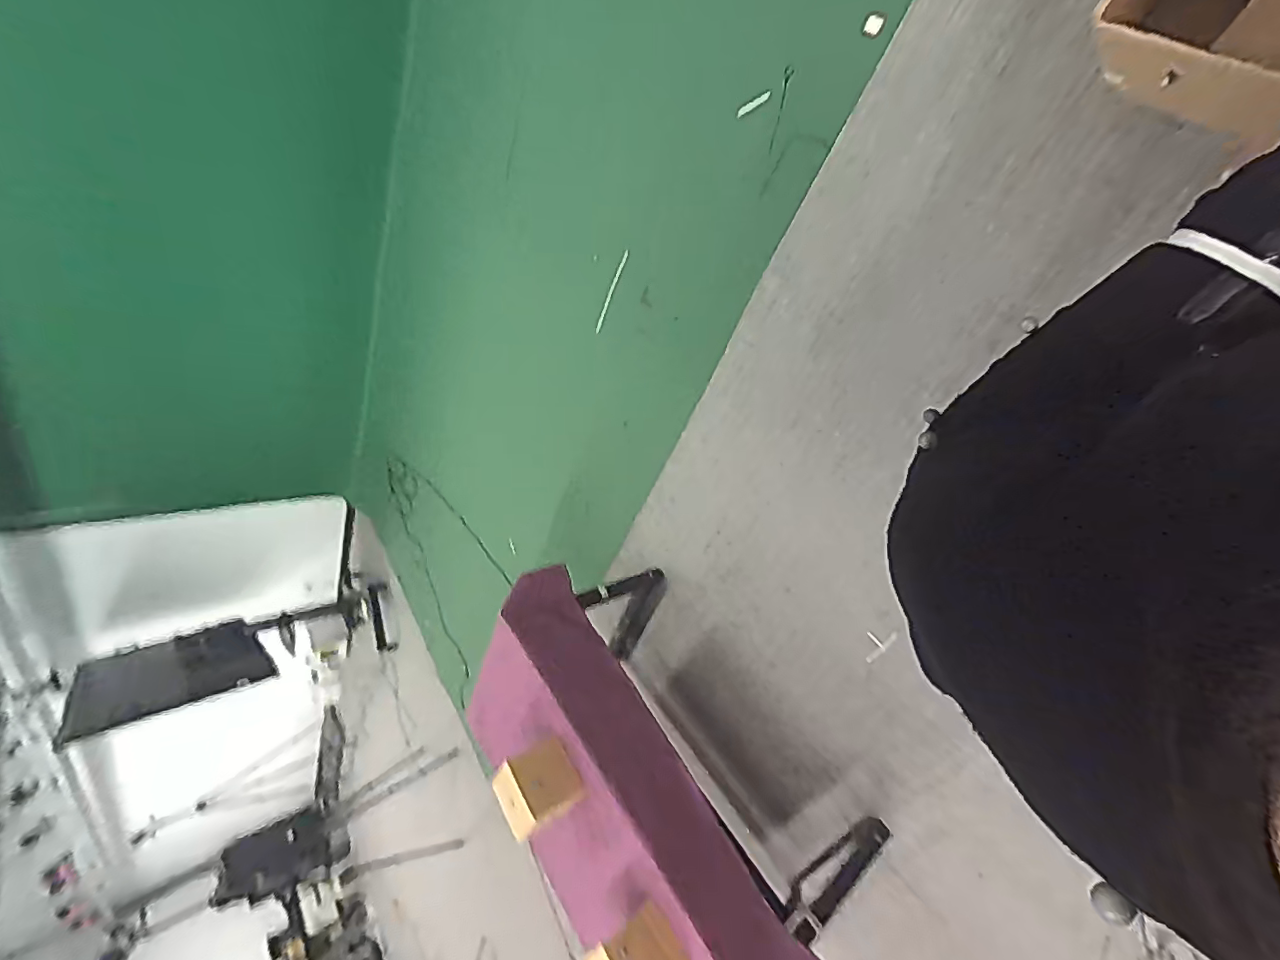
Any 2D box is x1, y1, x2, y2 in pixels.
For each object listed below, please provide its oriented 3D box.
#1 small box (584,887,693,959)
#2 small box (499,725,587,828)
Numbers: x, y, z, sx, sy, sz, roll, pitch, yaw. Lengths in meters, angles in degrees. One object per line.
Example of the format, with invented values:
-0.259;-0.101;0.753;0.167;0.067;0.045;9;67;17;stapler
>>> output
-0.002;1.145;1.305;0.179;0.176;0.168;49;129;32;small box
-0.278;0.849;1.559;0.179;0.176;0.168;52;130;29;small box
